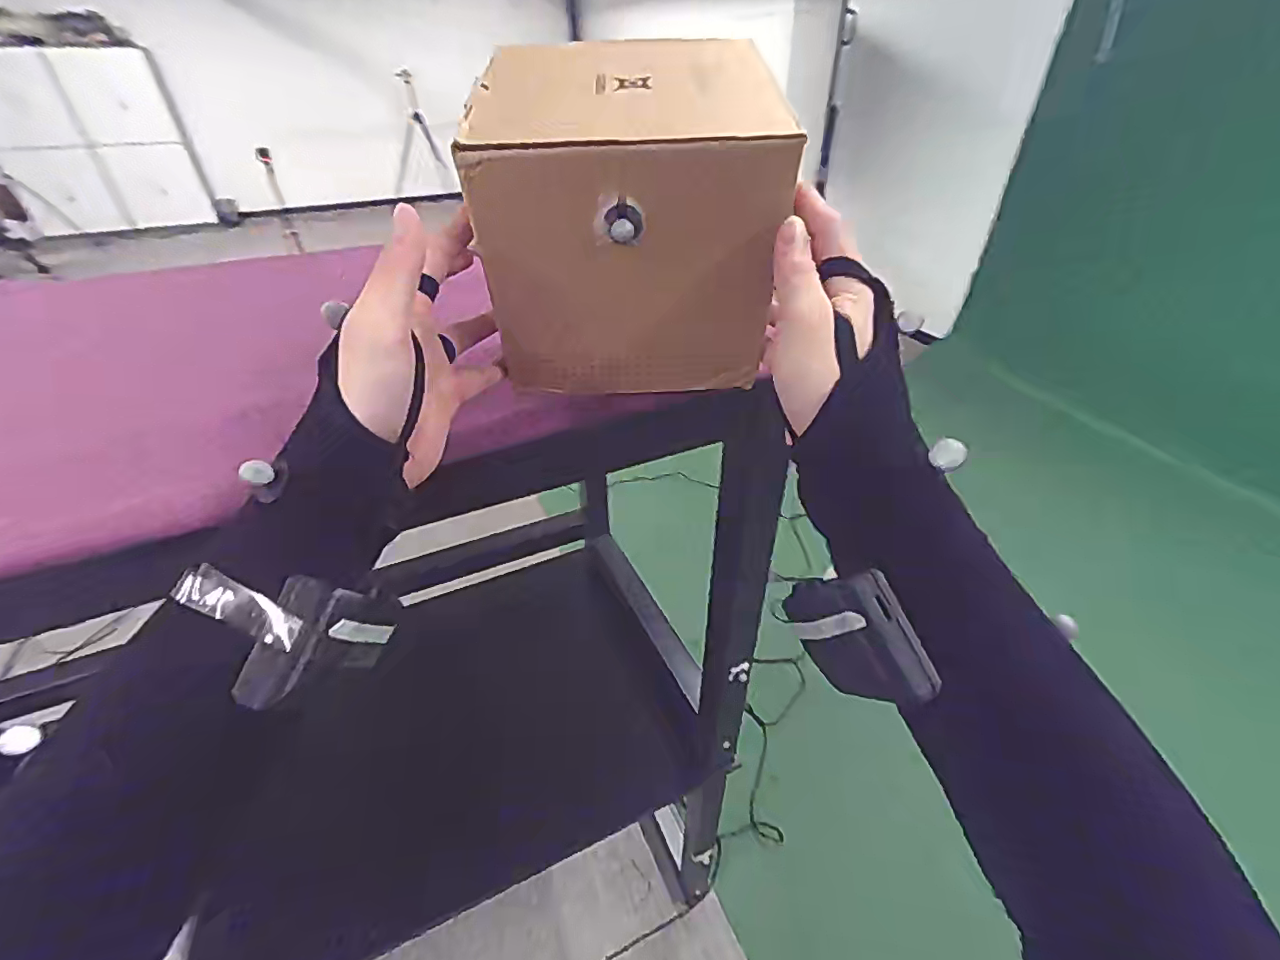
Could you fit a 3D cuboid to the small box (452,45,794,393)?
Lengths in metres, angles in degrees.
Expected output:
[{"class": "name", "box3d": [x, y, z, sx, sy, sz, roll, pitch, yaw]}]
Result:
[{"class": "small box", "box3d": [-0.007, -0.175, 0.380, 0.179, 0.176, 0.168, -2, 52, 0]}]
